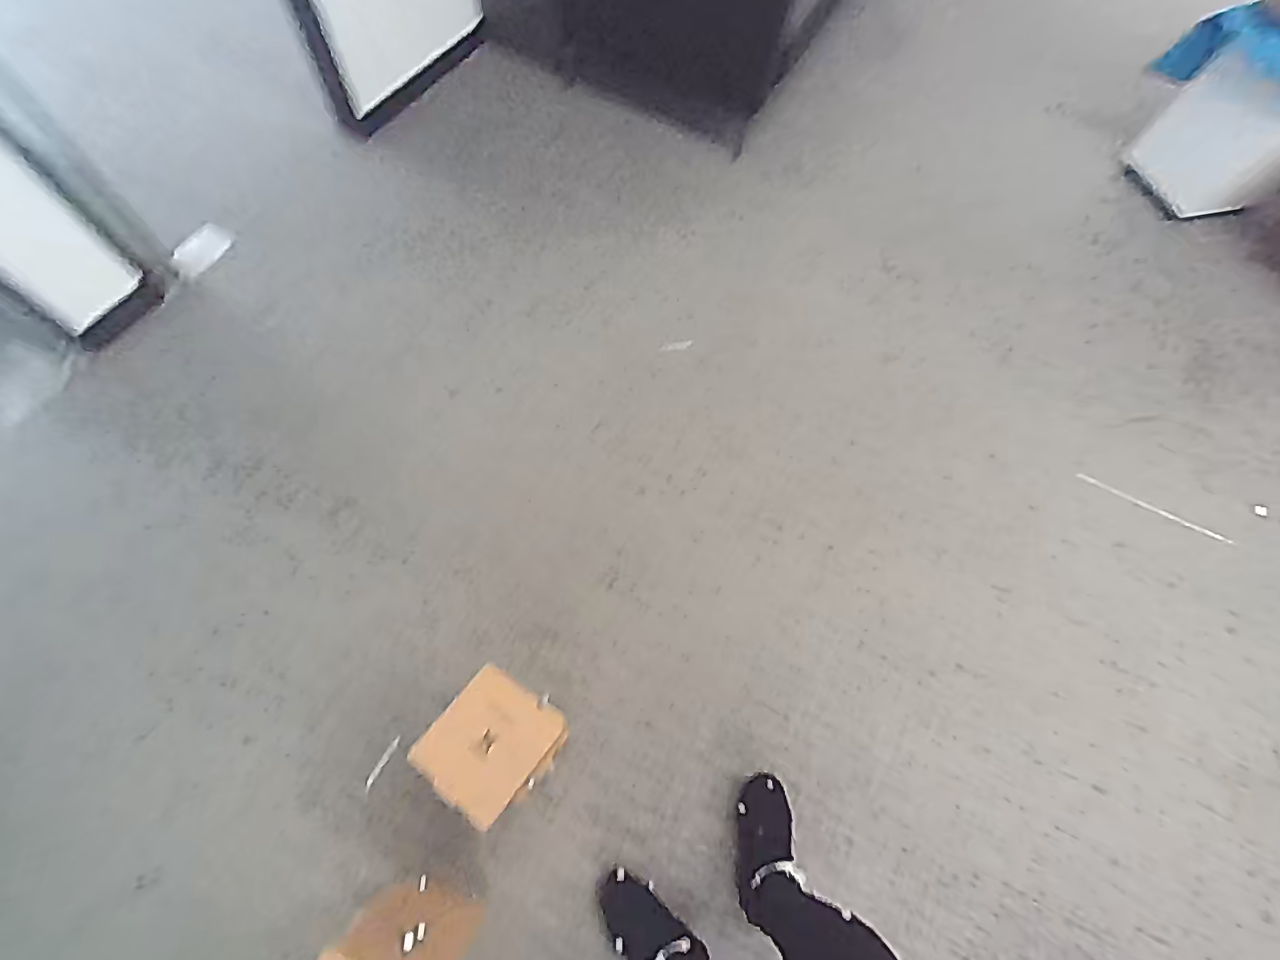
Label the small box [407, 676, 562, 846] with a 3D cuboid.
[{"bbox_3d":[-0.242,0.459,0.899,0.168,0.176,0.179,37,66,12],"label":"small box"}]

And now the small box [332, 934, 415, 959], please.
[{"bbox_3d":[-0.384,0.771,0.727,0.168,0.176,0.179,26,64,8],"label":"small box"}]

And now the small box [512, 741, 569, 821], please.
[{"bbox_3d":[-0.271,0.606,1.187,0.179,0.176,0.168,34,65,11],"label":"small box"}]
